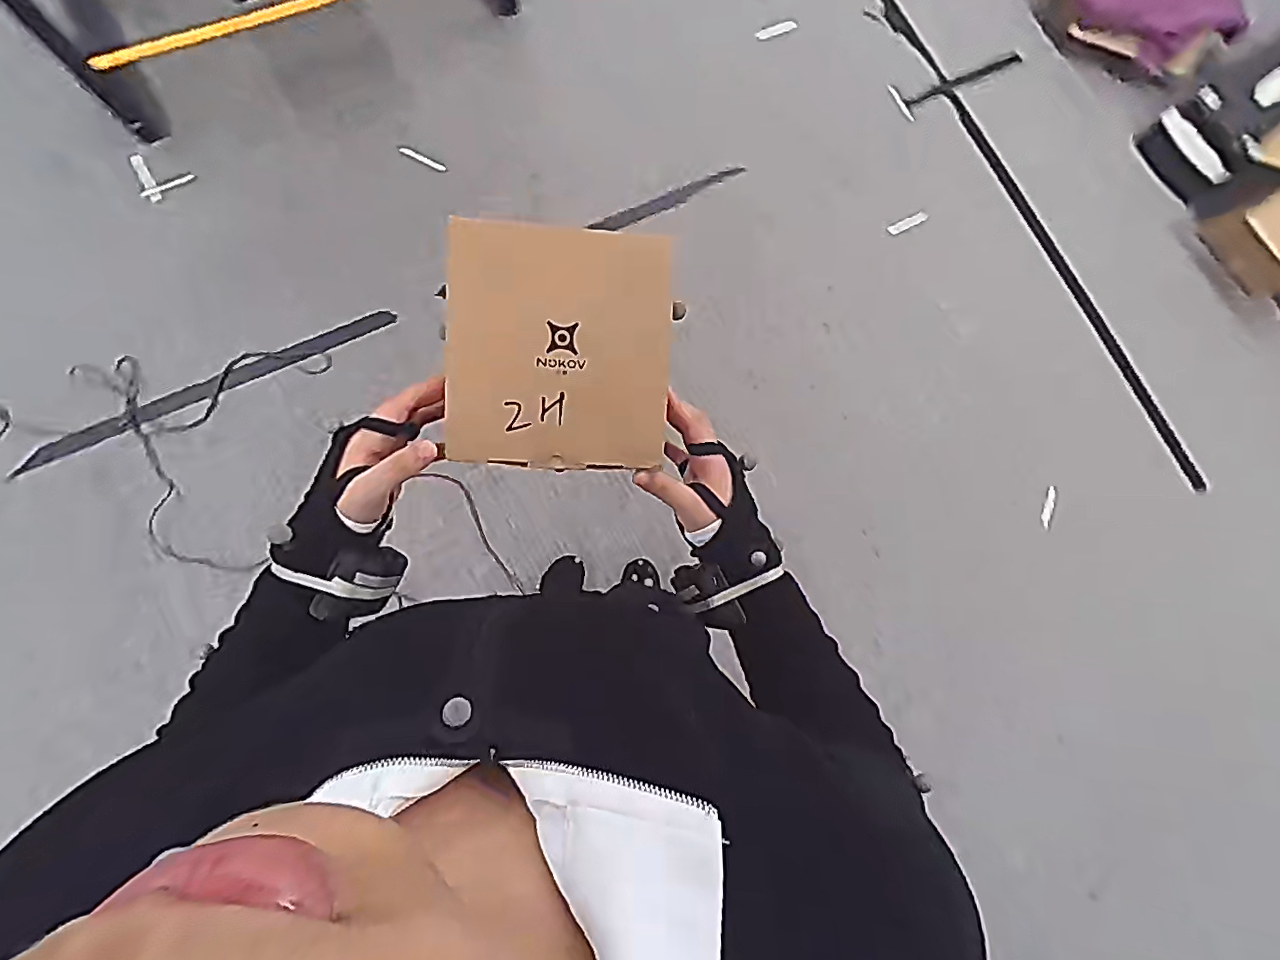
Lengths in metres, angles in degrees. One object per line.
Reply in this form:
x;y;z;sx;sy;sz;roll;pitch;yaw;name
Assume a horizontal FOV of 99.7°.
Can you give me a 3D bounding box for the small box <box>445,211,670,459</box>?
-0.071;-0.113;0.482;0.168;0.176;0.179;1;97;-6;small box
